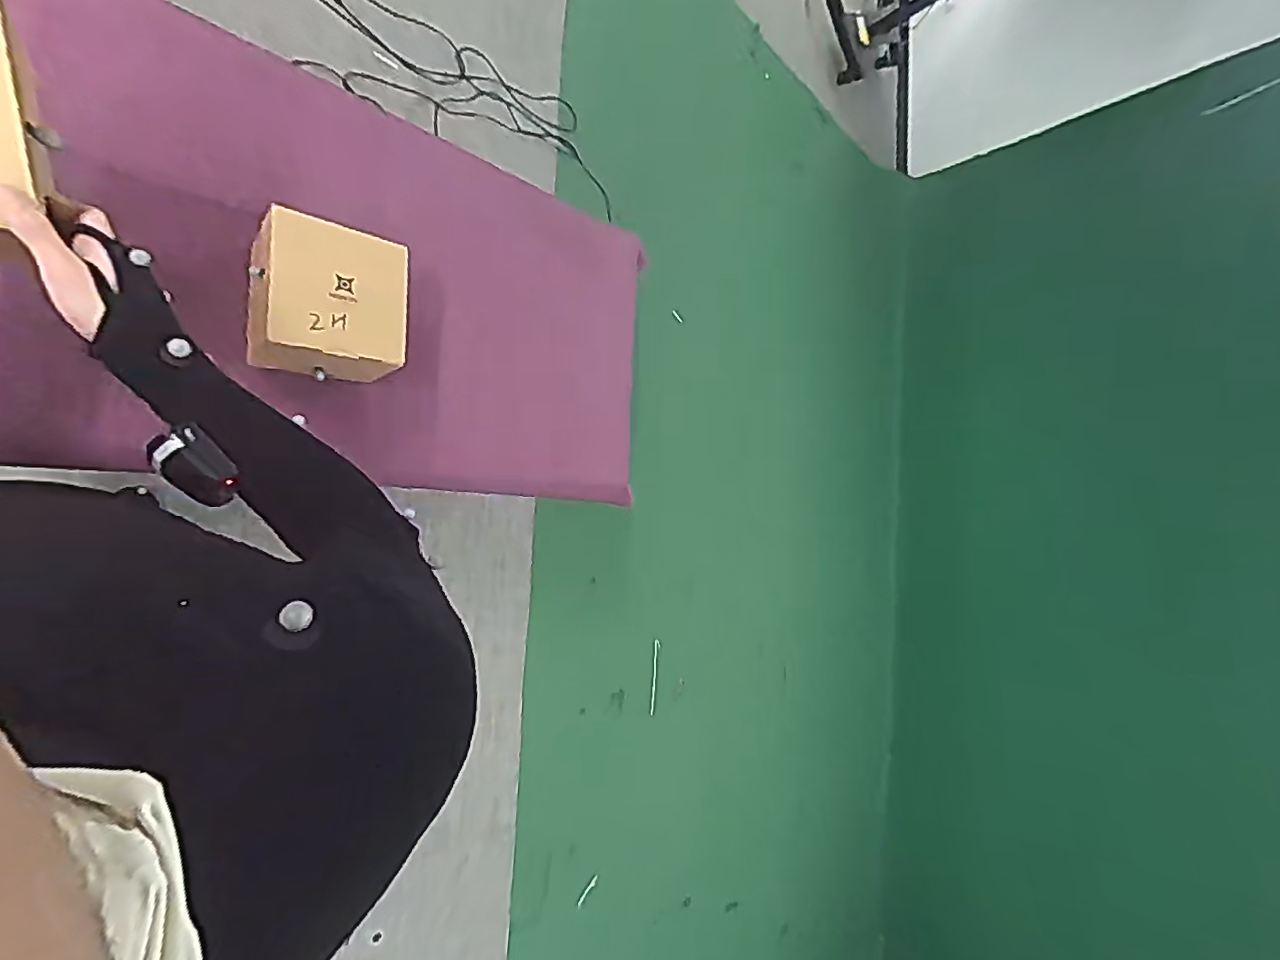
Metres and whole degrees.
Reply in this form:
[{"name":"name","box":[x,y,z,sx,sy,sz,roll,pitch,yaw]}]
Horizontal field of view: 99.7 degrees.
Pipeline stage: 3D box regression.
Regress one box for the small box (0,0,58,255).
[{"name":"small box","box":[-0.544,-0.271,0.375,0.168,0.176,0.179,-10,106,-41]}]

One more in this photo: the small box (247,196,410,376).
[{"name":"small box","box":[-0.444,-0.258,0.767,0.168,0.176,0.179,4,88,-43]}]
